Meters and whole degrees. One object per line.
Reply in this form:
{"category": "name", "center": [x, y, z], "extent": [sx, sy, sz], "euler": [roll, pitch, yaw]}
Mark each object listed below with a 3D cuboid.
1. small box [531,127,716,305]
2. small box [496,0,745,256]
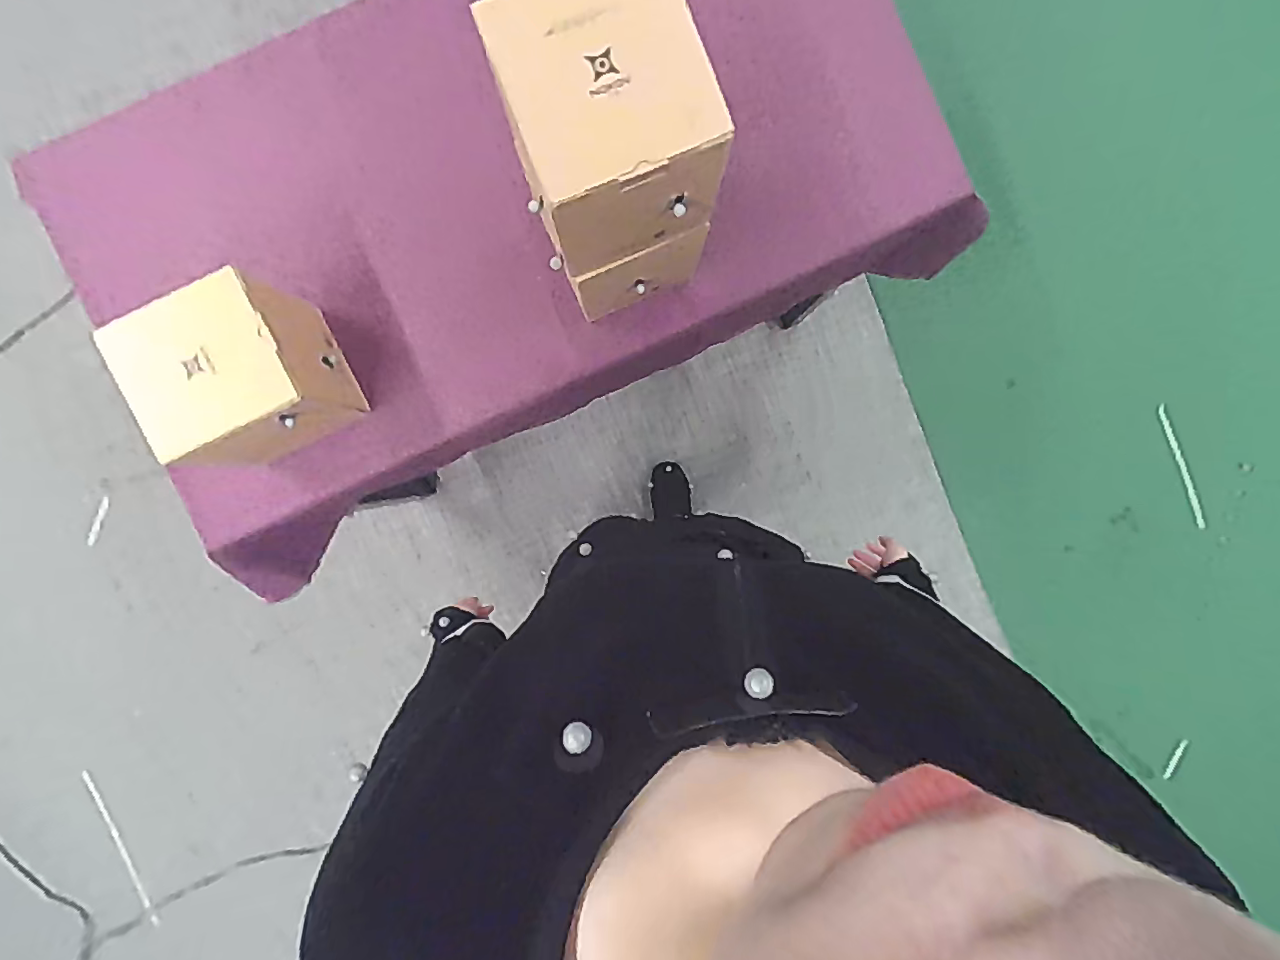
{"category": "small box", "center": [-0.018, -0.337, 0.679], "extent": [0.168, 0.176, 0.179], "euler": [-20, 92, -1]}
{"category": "small box", "center": [-0.016, -0.336, 0.515], "extent": [0.168, 0.176, 0.179], "euler": [-18, 91, -1]}
